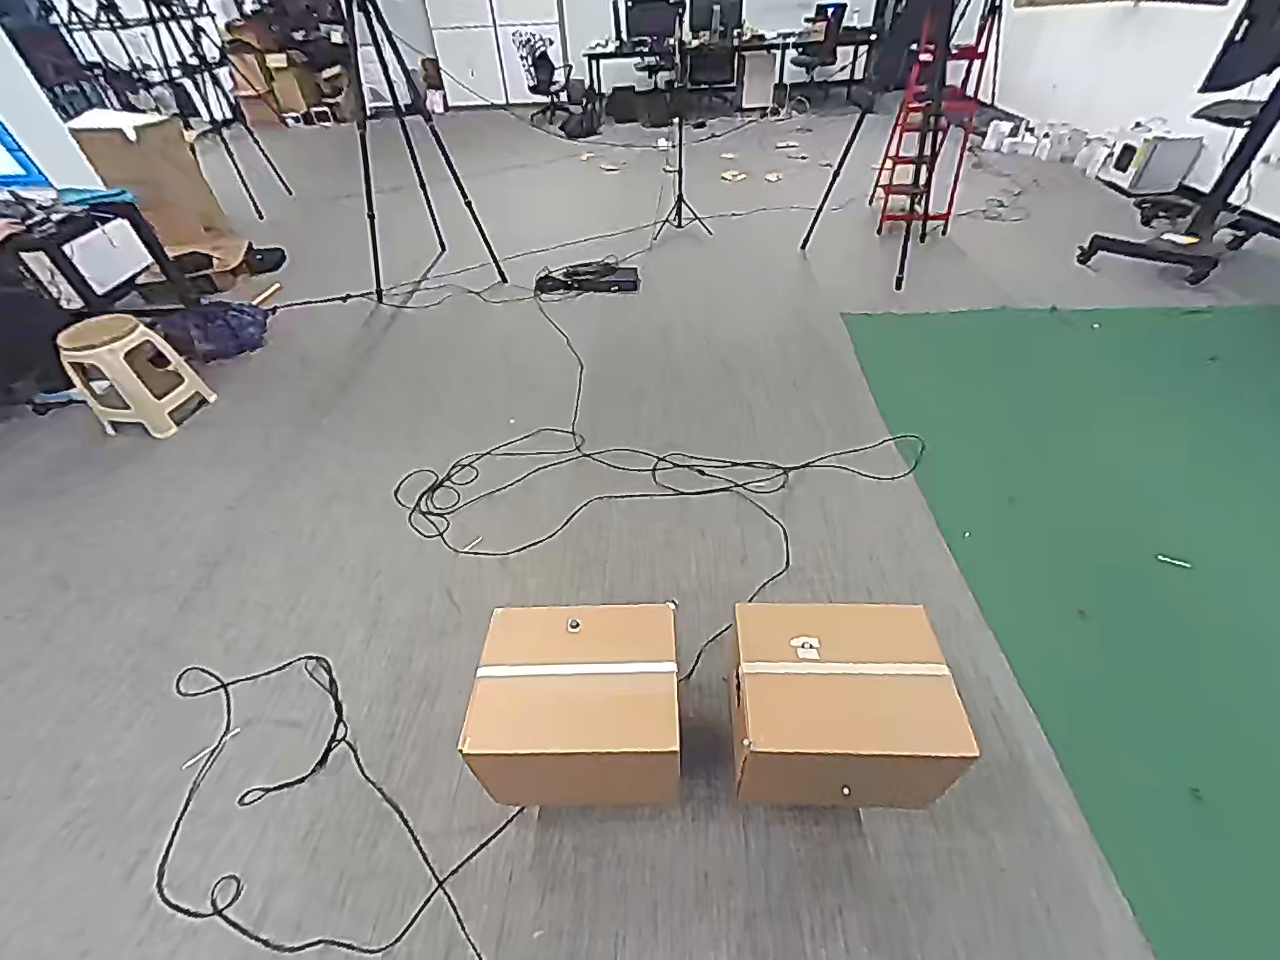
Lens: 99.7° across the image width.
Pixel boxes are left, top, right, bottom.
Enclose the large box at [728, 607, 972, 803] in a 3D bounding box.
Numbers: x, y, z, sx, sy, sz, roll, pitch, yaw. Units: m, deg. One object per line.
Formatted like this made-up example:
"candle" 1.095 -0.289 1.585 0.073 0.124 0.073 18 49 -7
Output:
"large box" 0.412 0.493 1.184 0.408 0.320 0.320 0 44 4
